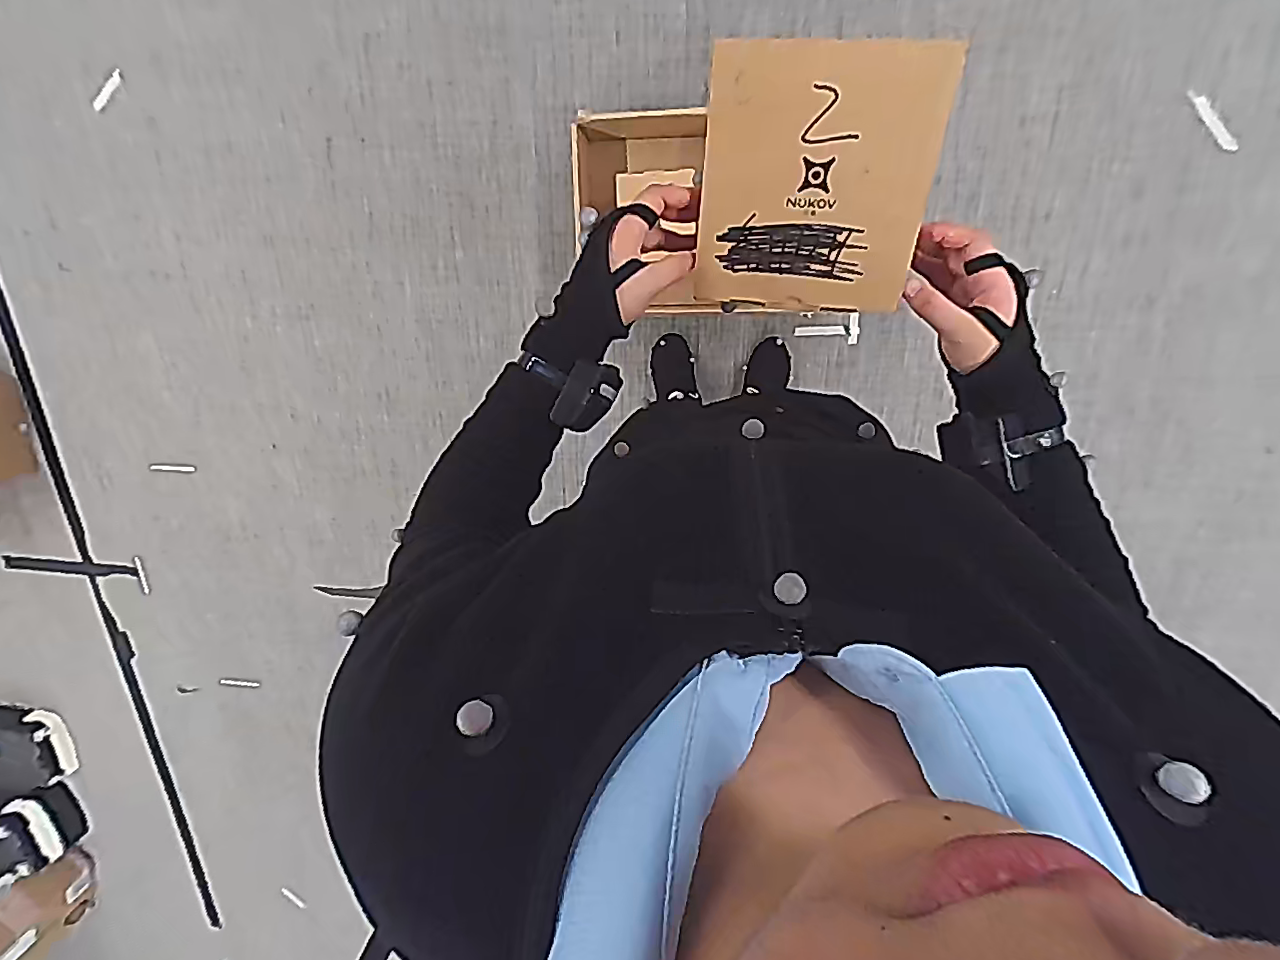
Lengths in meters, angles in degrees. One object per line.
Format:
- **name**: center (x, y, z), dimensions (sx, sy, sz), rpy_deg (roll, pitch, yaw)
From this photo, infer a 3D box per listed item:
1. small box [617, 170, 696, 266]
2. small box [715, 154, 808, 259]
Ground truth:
- **small box**: center (0.042, -0.577, 1.213), dimensions (0.168, 0.176, 0.179), rpy_deg (-1, 108, 5)
- **small box**: center (0.258, -0.591, 1.186), dimensions (0.168, 0.176, 0.179), rpy_deg (7, 109, 5)
